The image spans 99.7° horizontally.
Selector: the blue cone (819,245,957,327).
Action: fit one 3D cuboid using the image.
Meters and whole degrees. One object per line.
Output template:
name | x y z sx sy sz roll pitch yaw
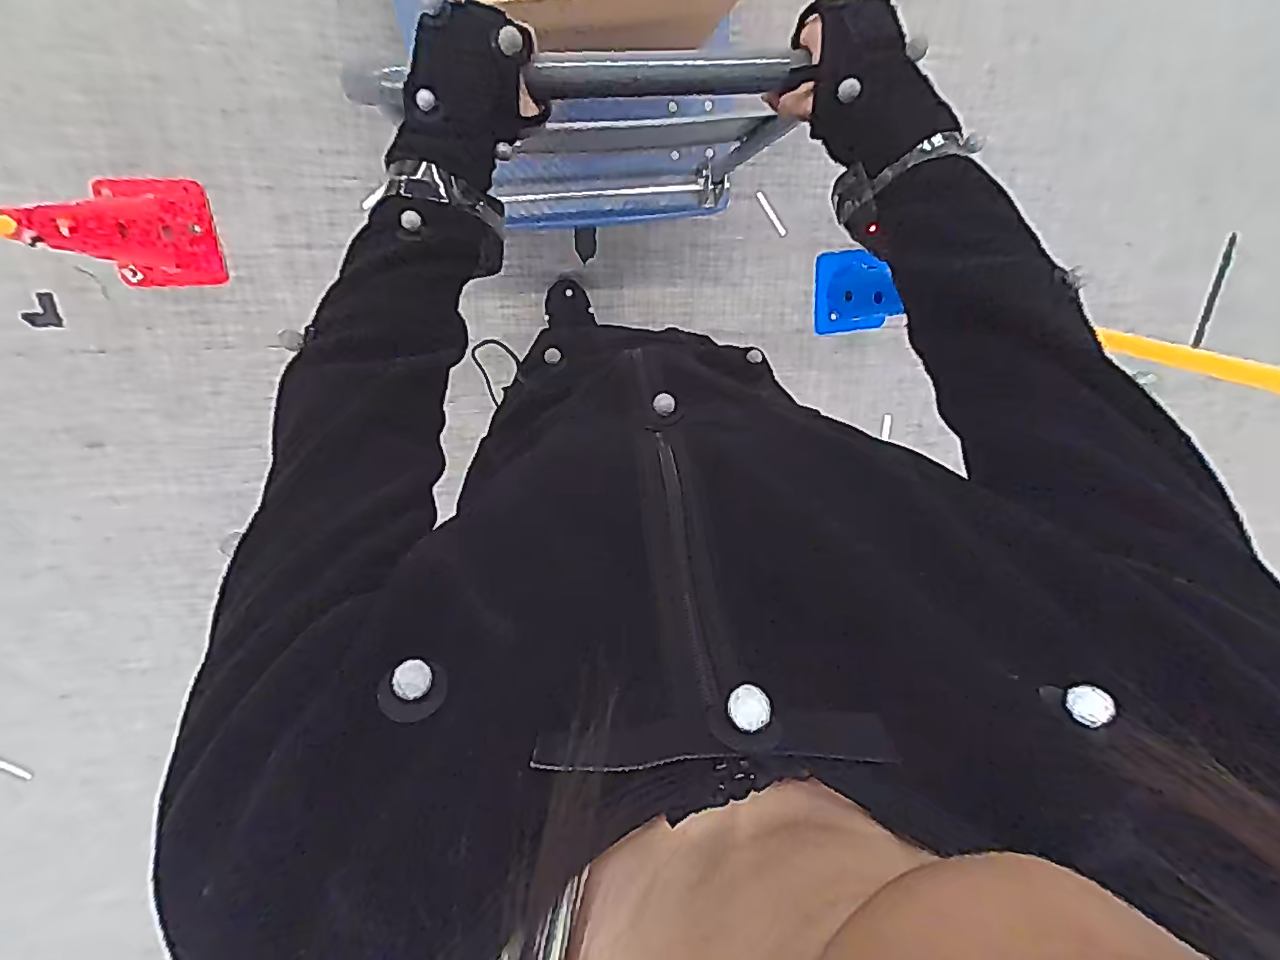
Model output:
blue cone | 0.577 -0.438 1.237 0.193 0.380 0.192 -7 112 -8
